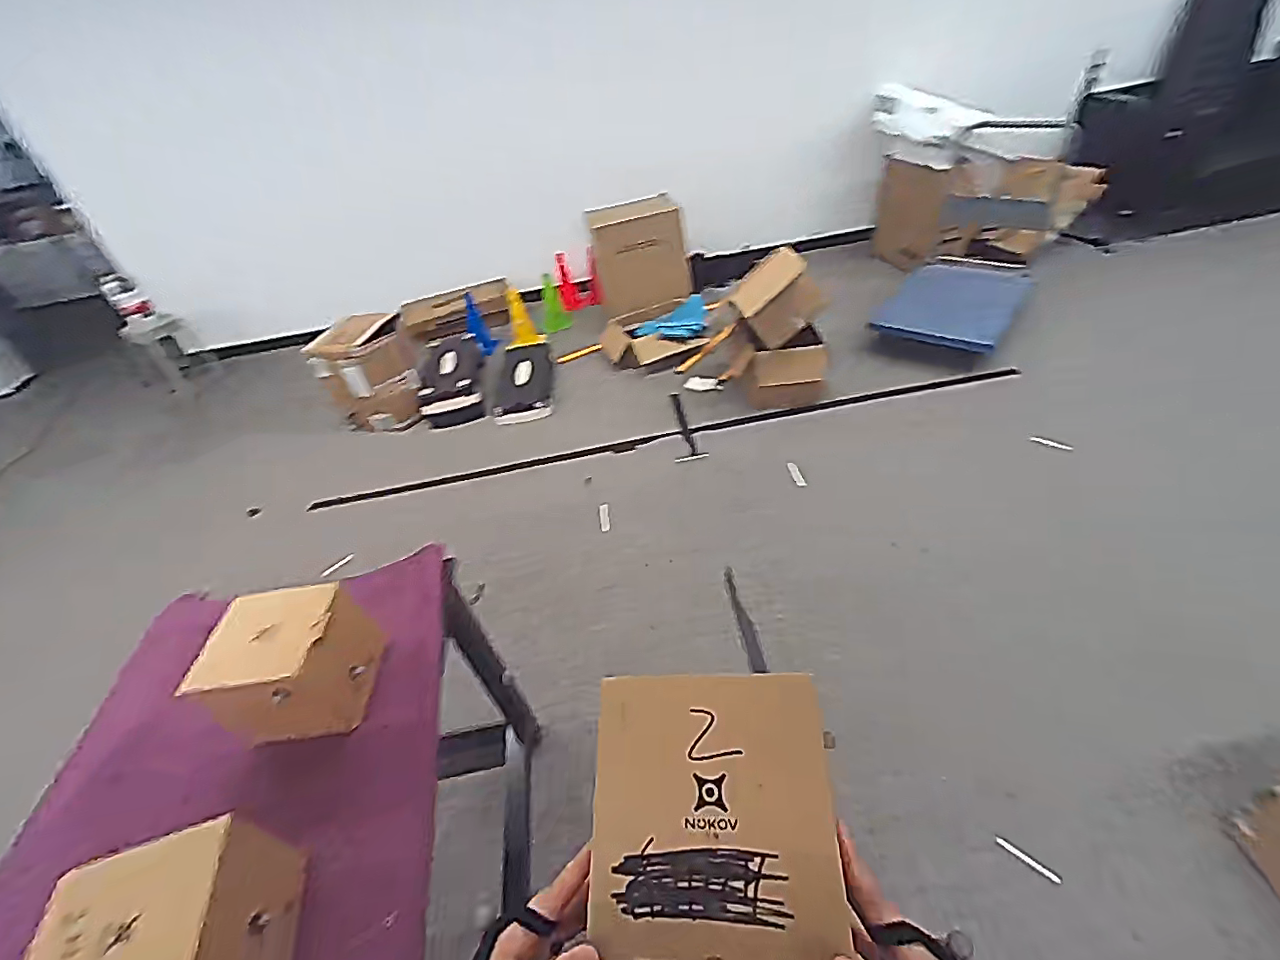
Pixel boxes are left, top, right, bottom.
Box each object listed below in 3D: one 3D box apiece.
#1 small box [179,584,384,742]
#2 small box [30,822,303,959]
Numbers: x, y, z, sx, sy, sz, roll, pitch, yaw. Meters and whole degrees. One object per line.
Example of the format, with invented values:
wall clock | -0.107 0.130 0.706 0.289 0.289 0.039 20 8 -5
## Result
small box | -0.544 0.291 0.851 0.179 0.176 0.168 -10 41 3
small box | -0.507 0.515 0.590 0.179 0.176 0.168 -18 41 -8
